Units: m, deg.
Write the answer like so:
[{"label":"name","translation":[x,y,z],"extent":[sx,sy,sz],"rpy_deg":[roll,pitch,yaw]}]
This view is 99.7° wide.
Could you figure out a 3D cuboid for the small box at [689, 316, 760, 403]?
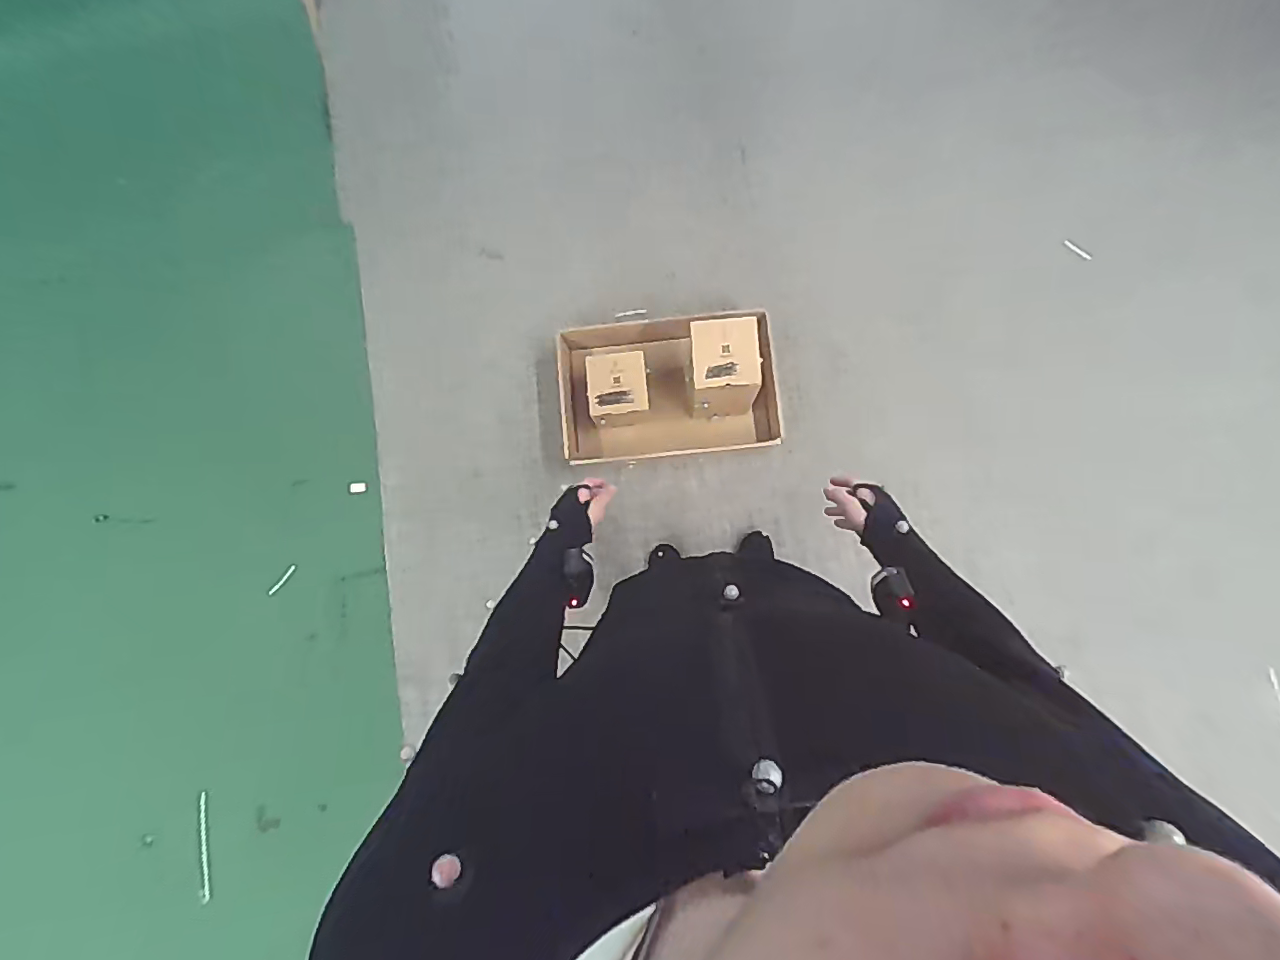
[{"label":"small box","translation":[0.214,-0.302,1.396],"extent":[0.168,0.176,0.179],"rpy_deg":[-3,82,4]}]

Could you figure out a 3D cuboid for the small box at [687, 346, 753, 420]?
[{"label":"small box","translation":[0.225,-0.284,1.558],"extent":[0.168,0.176,0.179],"rpy_deg":[-5,83,4]}]
